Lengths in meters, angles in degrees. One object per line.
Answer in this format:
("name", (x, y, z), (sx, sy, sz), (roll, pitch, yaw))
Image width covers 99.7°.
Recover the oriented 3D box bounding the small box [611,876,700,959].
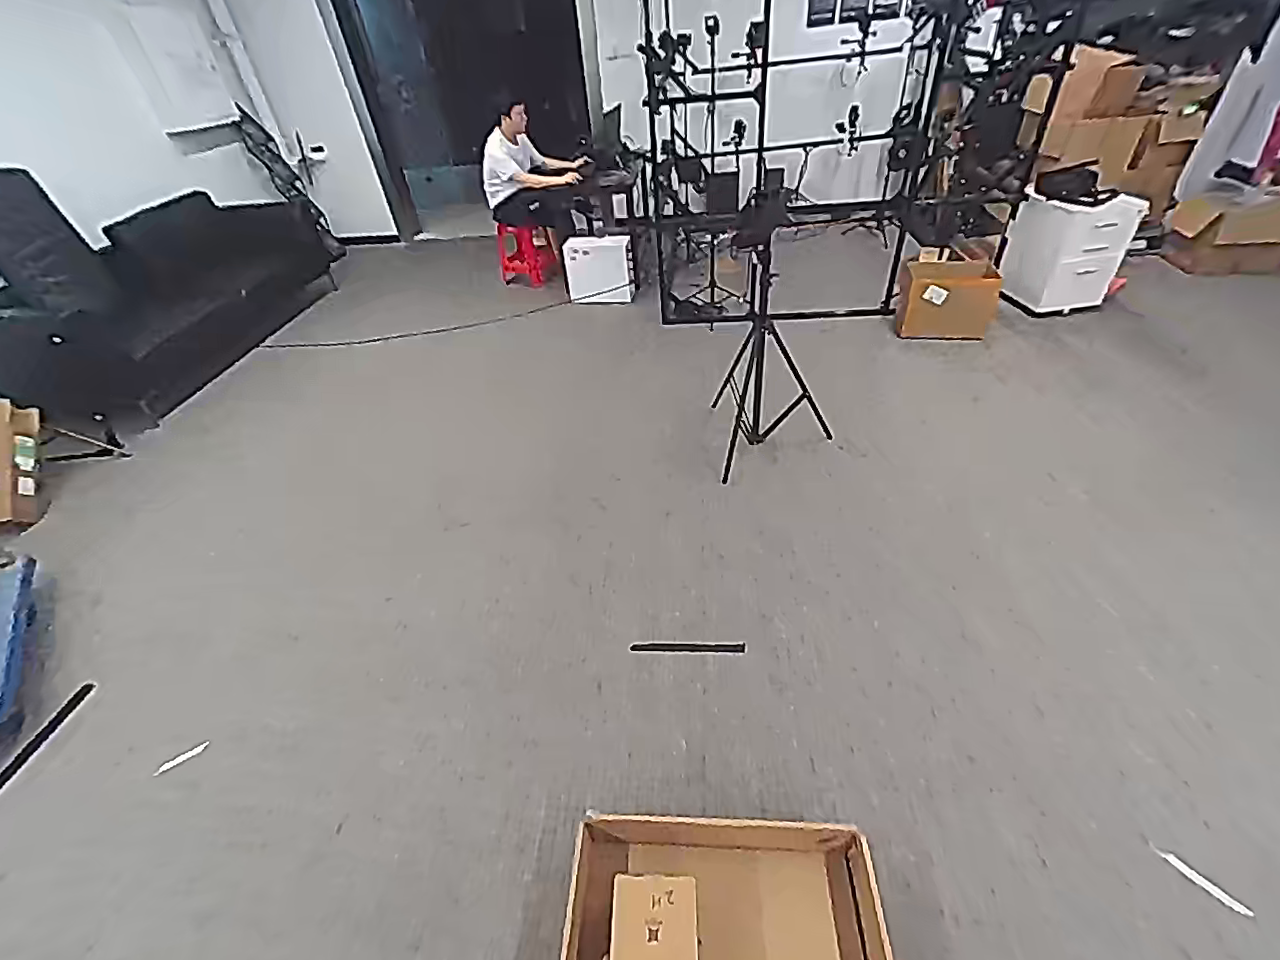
("small box", (0.035, 0.919, 1.077), (0.168, 0.176, 0.179), (-1, 40, 4))
